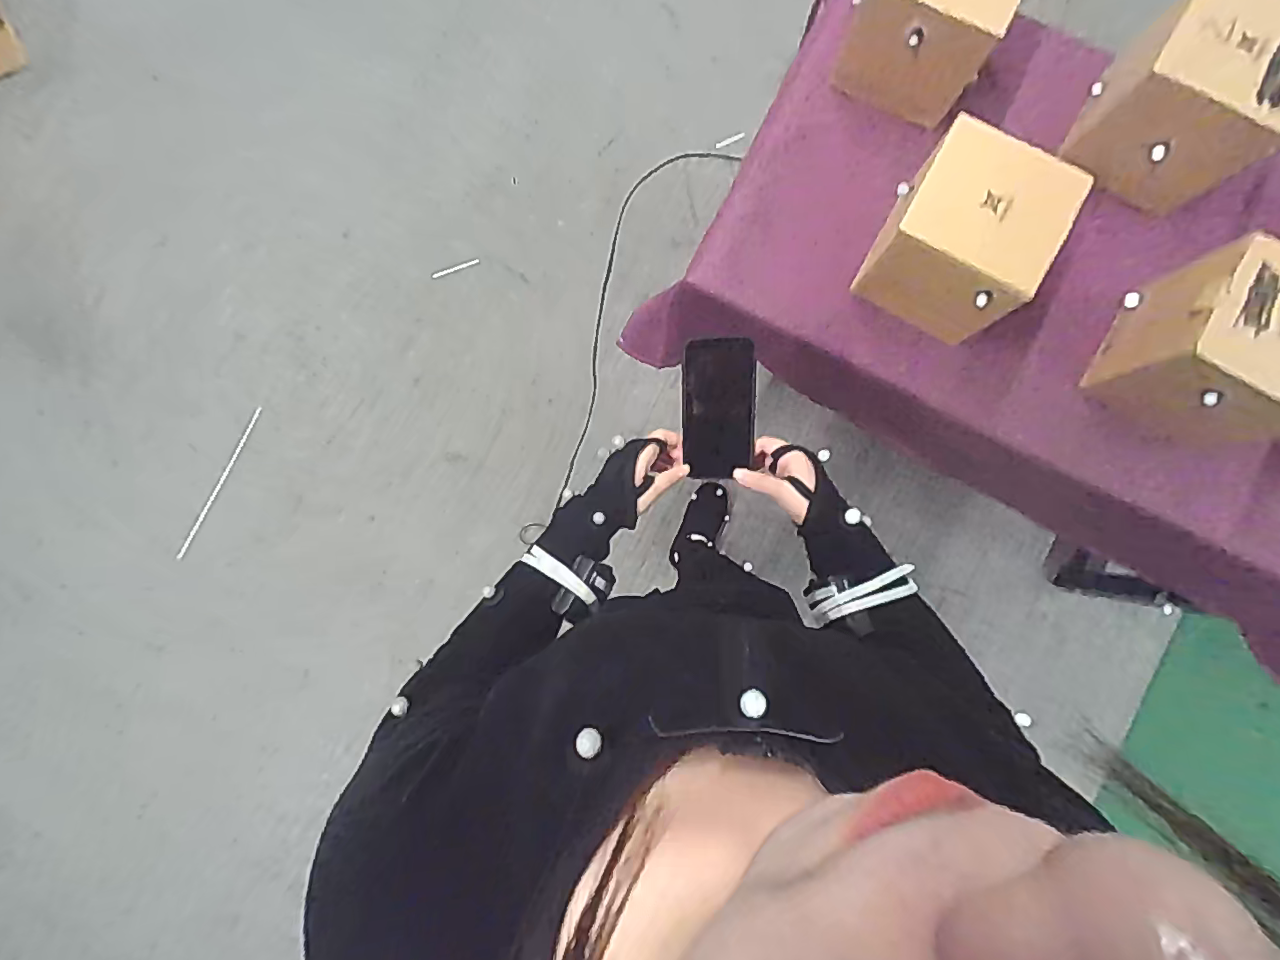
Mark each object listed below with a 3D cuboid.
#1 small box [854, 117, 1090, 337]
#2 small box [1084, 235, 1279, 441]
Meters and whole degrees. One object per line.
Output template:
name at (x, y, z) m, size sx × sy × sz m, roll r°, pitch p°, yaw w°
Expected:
small box at (0.417, -0.316, 0.713) m, size 0.179 × 0.176 × 0.168 m, roll 29°, pitch 86°, yaw 3°
small box at (0.735, -0.164, 0.690) m, size 0.179 × 0.176 × 0.168 m, roll 31°, pitch 87°, yaw 3°
